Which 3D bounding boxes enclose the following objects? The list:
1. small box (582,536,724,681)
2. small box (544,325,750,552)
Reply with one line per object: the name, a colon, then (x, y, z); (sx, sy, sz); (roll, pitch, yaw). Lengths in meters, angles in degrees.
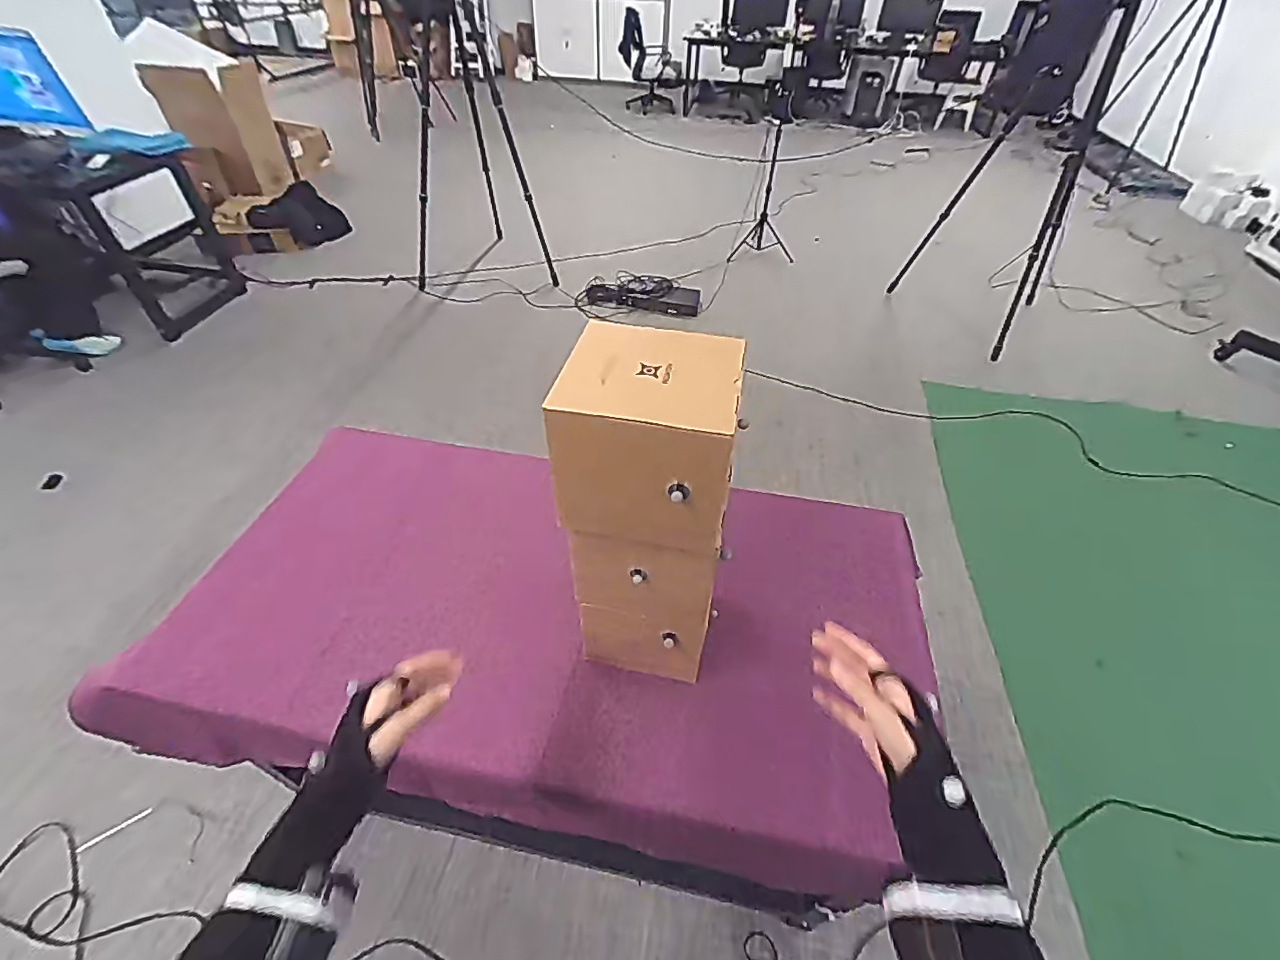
small box: (0.022, 0.184, 0.822); (0.179, 0.176, 0.168); (10, 45, 8)
small box: (0.013, -0.043, 0.584); (0.179, 0.176, 0.168); (9, 45, 8)
